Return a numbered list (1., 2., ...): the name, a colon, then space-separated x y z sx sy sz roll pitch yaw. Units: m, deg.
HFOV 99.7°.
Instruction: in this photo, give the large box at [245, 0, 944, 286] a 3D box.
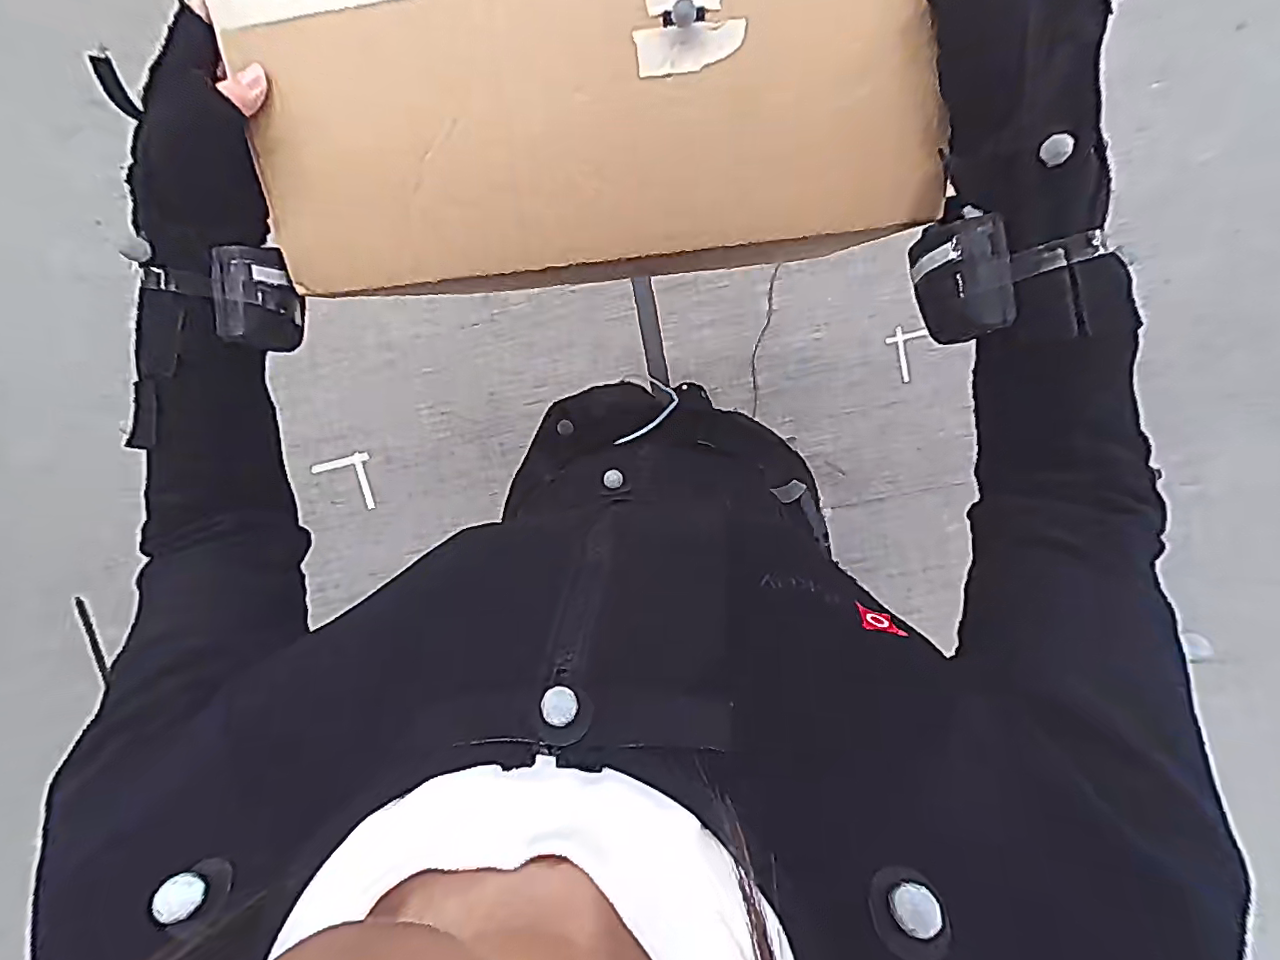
1. large box: -0.025 -0.344 0.436 0.408 0.320 0.320 -4 109 8
